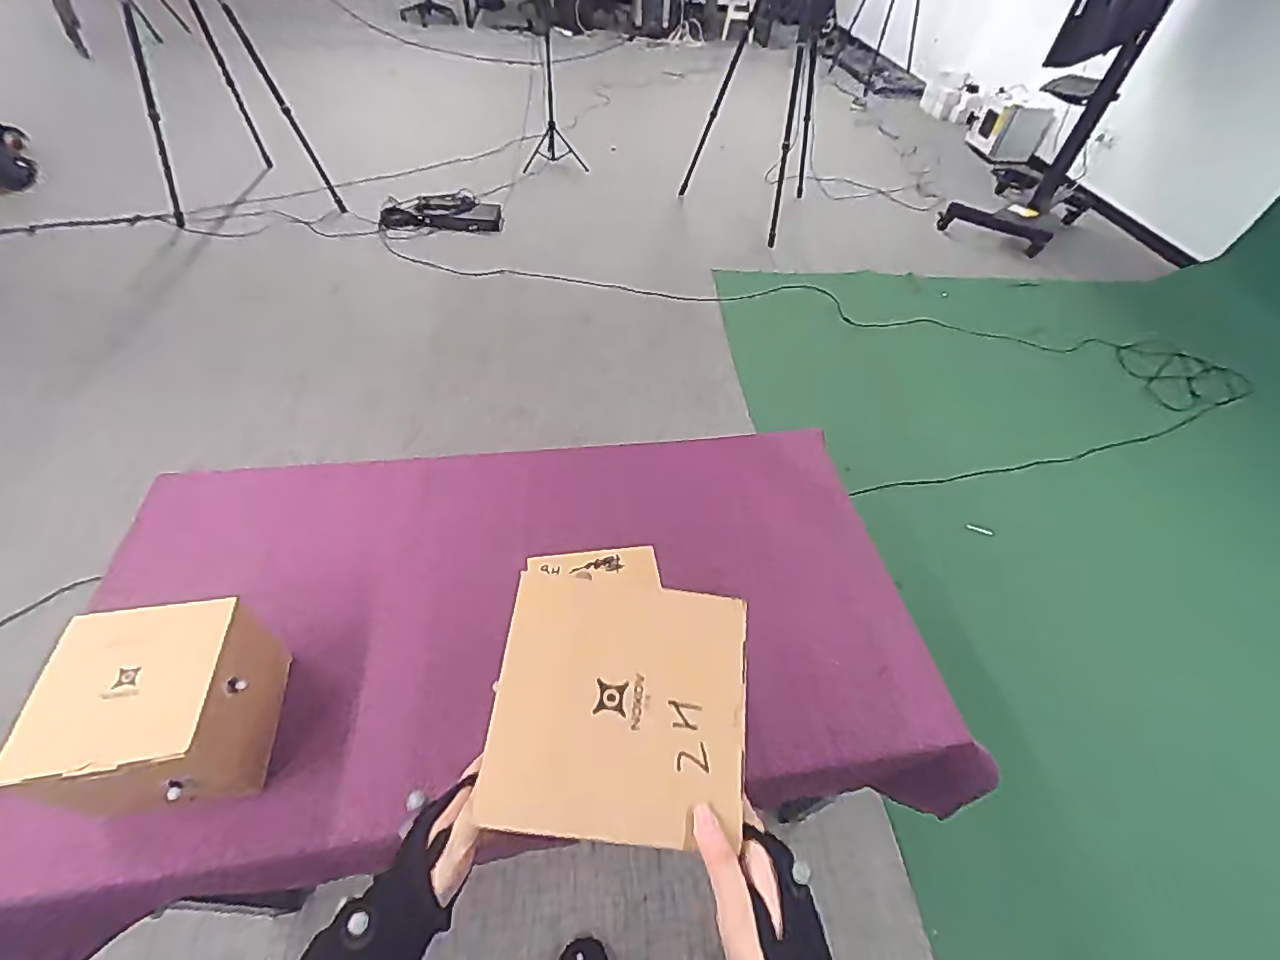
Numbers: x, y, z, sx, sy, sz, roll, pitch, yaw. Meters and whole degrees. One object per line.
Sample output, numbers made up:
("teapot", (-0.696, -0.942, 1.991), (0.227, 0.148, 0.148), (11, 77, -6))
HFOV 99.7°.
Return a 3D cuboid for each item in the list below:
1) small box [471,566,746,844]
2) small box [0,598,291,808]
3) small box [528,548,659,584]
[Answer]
("small box", (-0.021, 0.185, 0.451), (0.179, 0.176, 0.168), (9, 64, -3))
("small box", (-0.536, 0.261, 0.623), (0.168, 0.176, 0.179), (-4, 50, -11))
("small box", (-0.056, 0.212, 0.710), (0.168, 0.176, 0.179), (-4, 51, -9))
